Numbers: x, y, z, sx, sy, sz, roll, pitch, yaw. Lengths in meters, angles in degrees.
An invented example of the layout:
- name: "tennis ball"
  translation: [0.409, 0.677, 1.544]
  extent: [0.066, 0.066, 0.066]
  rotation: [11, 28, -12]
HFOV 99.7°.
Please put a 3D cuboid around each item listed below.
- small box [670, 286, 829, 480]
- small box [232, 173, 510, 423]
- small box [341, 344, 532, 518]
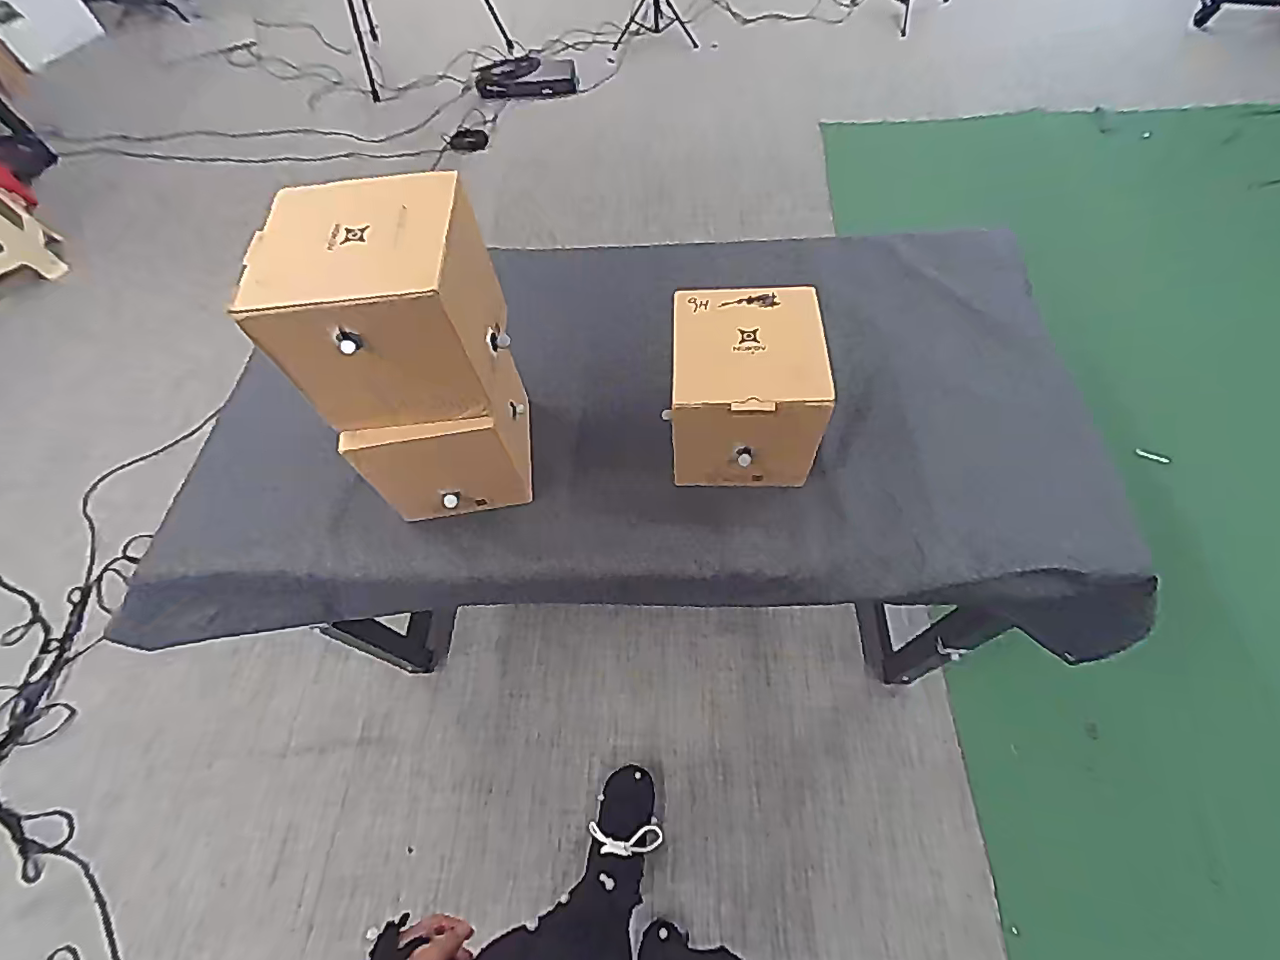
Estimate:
- name: "small box"
  translation: [0.123, -0.111, 0.665]
  extent: [0.168, 0.176, 0.179]
  rotation: [0, 60, 5]
- name: "small box"
  translation: [-0.242, -0.171, 0.539]
  extent: [0.179, 0.176, 0.168]
  rotation: [-5, 61, 0]
- name: "small box"
  translation: [-0.235, -0.075, 0.671]
  extent: [0.168, 0.176, 0.179]
  rotation: [-9, 60, -1]
